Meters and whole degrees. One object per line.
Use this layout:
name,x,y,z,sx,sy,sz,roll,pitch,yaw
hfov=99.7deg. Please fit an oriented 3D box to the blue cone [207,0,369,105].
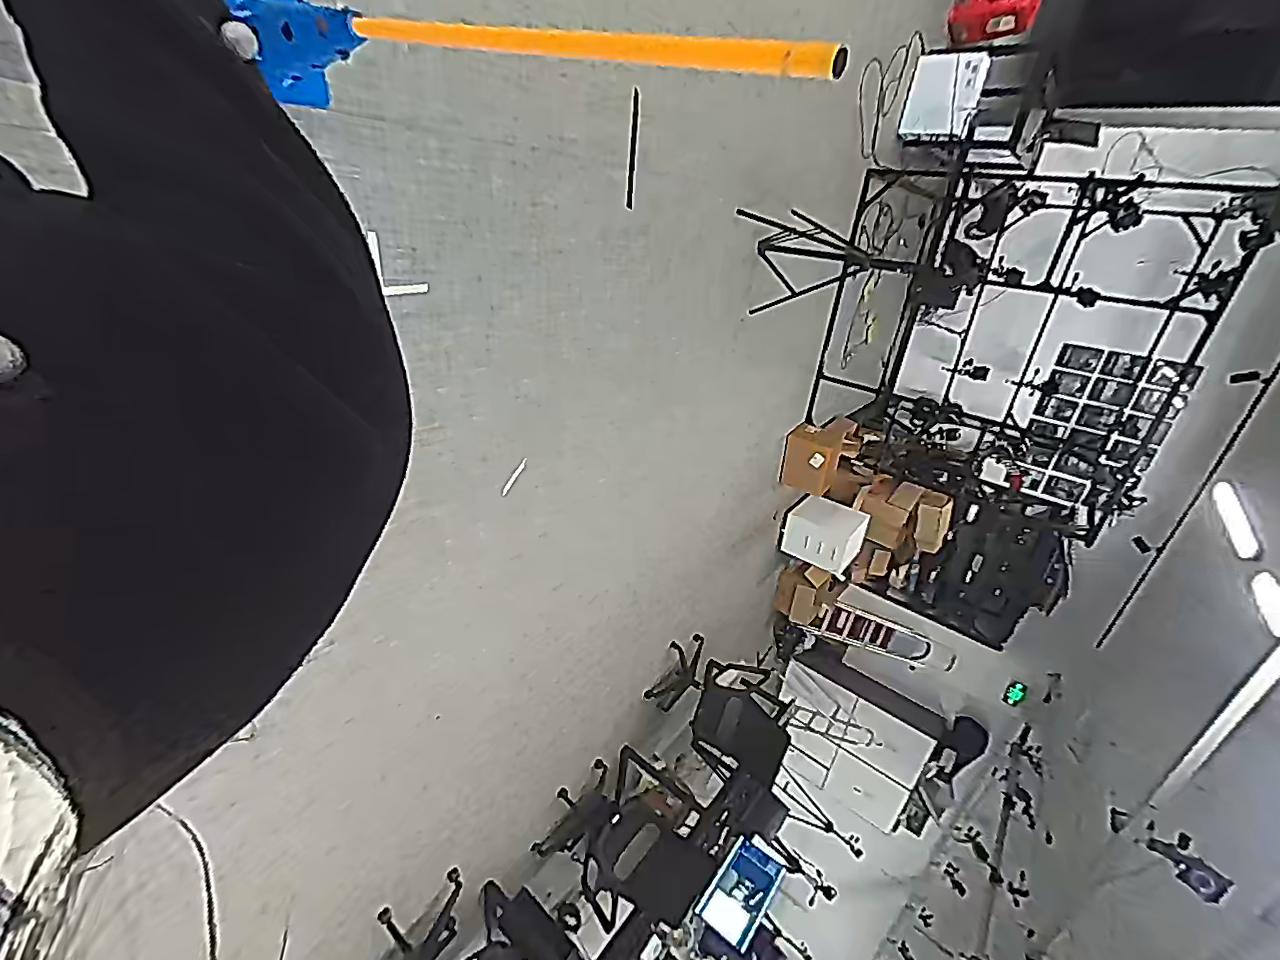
blue cone,-0.604,-0.813,0.988,0.193,0.380,0.192,-30,133,-44
